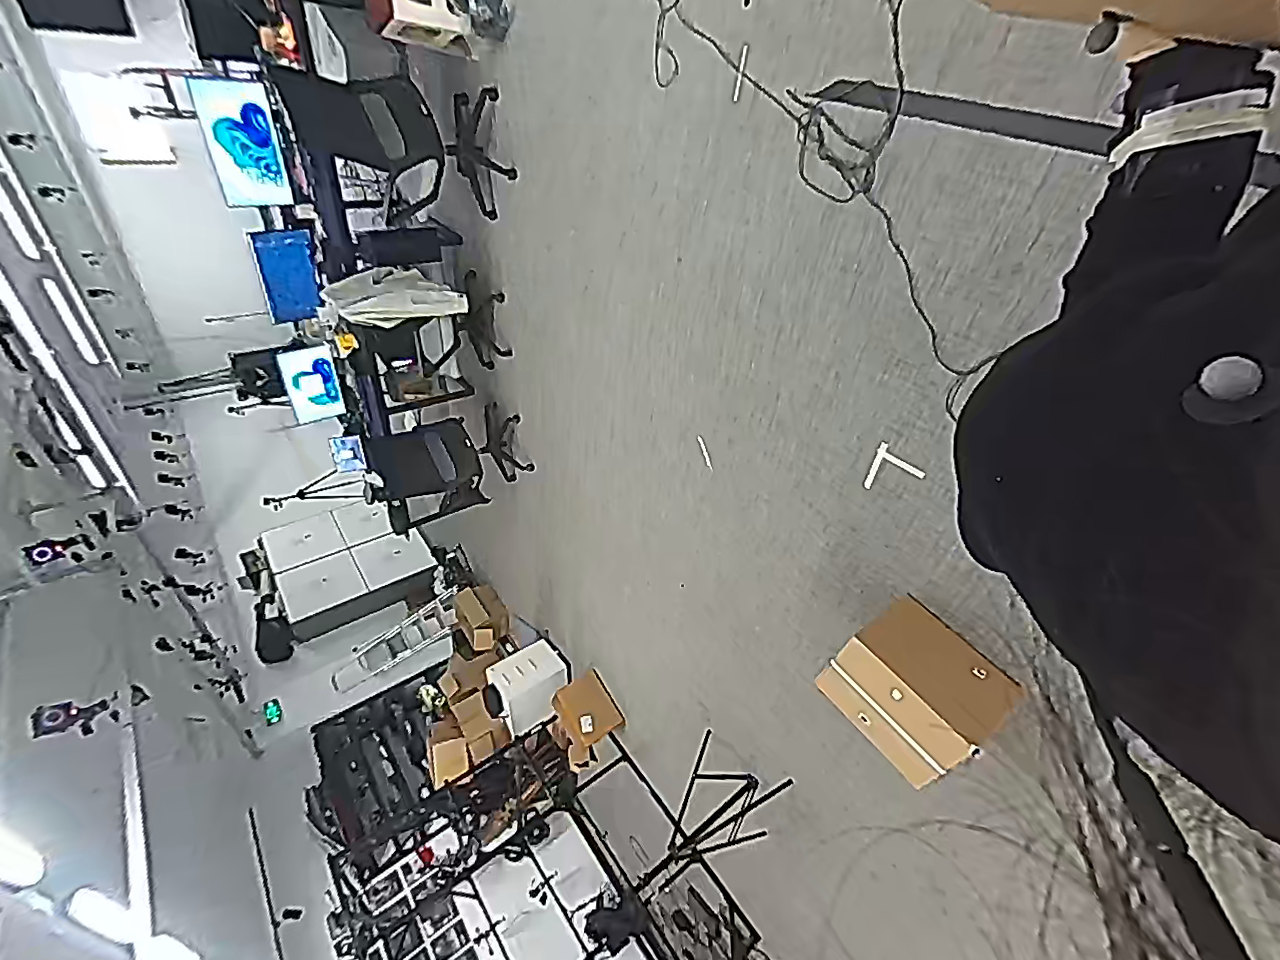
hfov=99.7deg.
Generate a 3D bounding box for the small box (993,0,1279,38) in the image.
[{"bbox_3d":[0.271,-0.334,0.254,0.179,0.176,0.168,42,135,31],"label":"small box"}]
